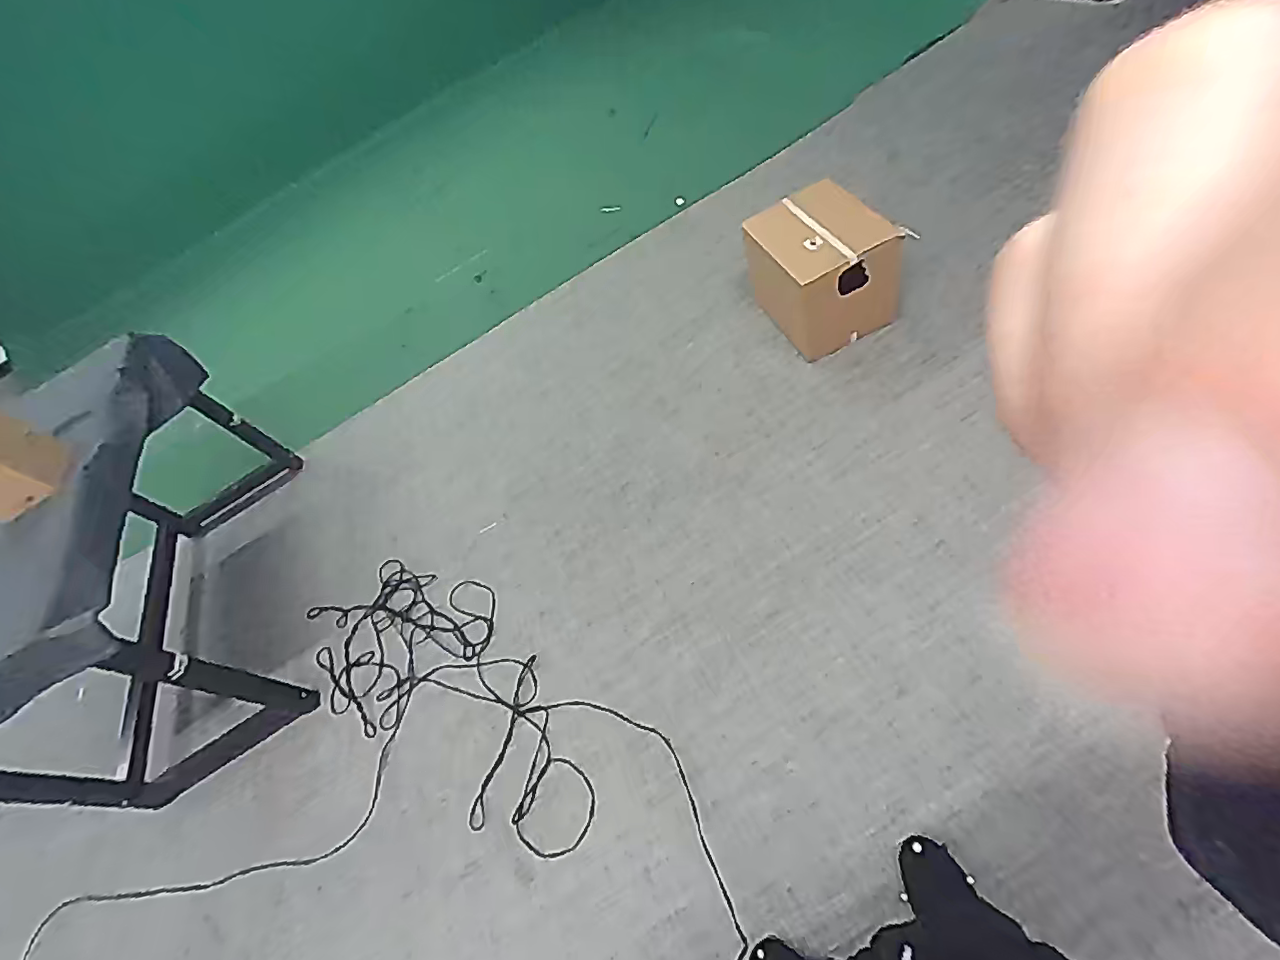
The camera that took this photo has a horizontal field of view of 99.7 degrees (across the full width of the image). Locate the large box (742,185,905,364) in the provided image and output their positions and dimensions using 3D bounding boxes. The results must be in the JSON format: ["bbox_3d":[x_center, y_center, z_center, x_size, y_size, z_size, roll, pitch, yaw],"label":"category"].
[{"bbox_3d":[0.570,-0.654,1.727,0.320,0.320,0.408,-27,53,3],"label":"large box"}]
